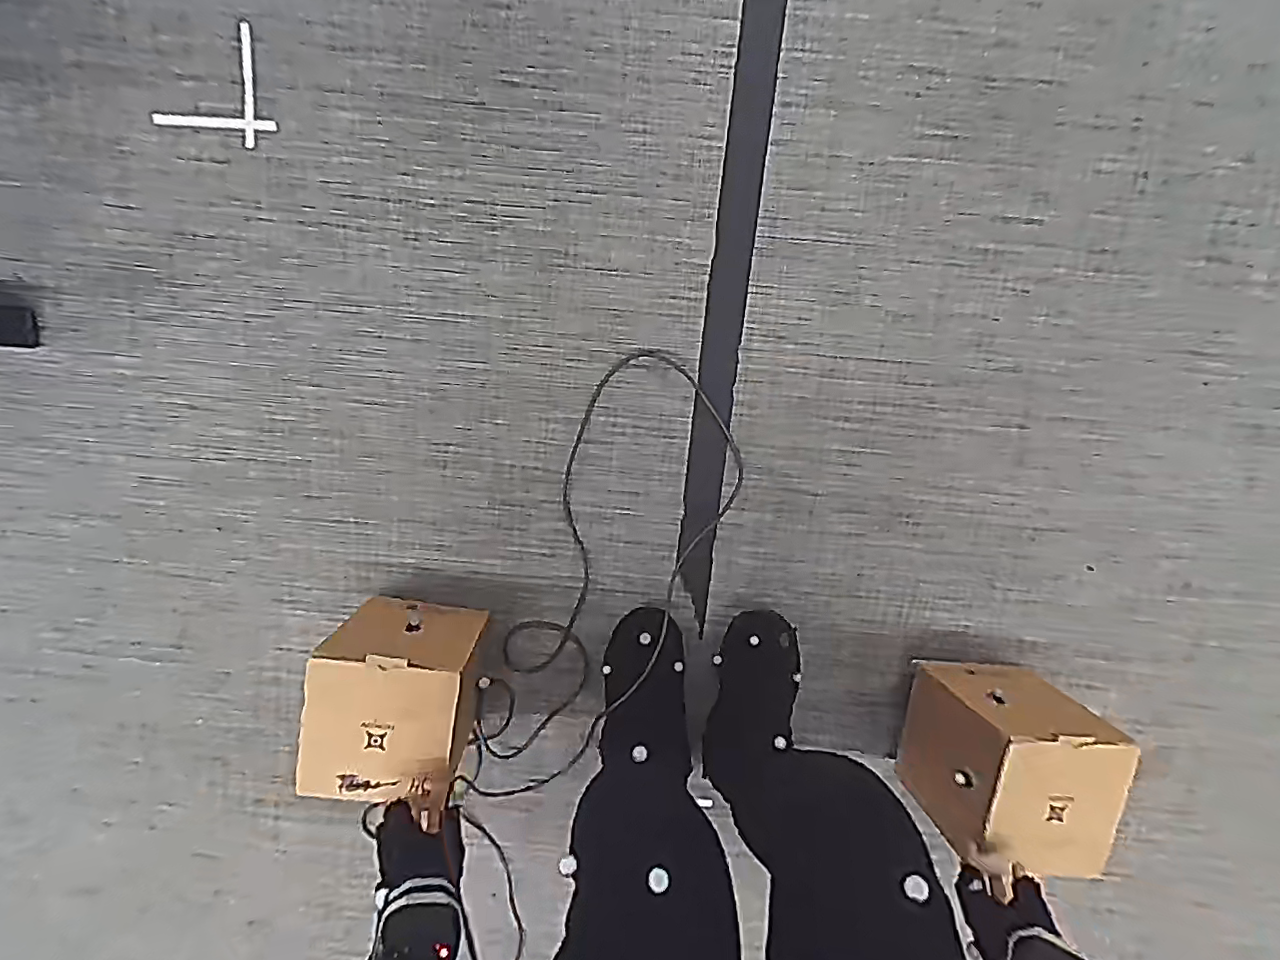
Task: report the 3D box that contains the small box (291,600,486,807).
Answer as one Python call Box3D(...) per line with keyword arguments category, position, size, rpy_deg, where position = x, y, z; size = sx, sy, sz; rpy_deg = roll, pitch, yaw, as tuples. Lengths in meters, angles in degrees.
Box3D(category="small box", position=(-0.299, 0.266, 0.678), size=(0.168, 0.176, 0.179), rpy_deg=(9, 97, -5))

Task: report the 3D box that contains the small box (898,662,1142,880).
Box3D(category="small box", position=(0.452, 0.349, 0.675), size=(0.168, 0.176, 0.179), rpy_deg=(7, 100, -5))
